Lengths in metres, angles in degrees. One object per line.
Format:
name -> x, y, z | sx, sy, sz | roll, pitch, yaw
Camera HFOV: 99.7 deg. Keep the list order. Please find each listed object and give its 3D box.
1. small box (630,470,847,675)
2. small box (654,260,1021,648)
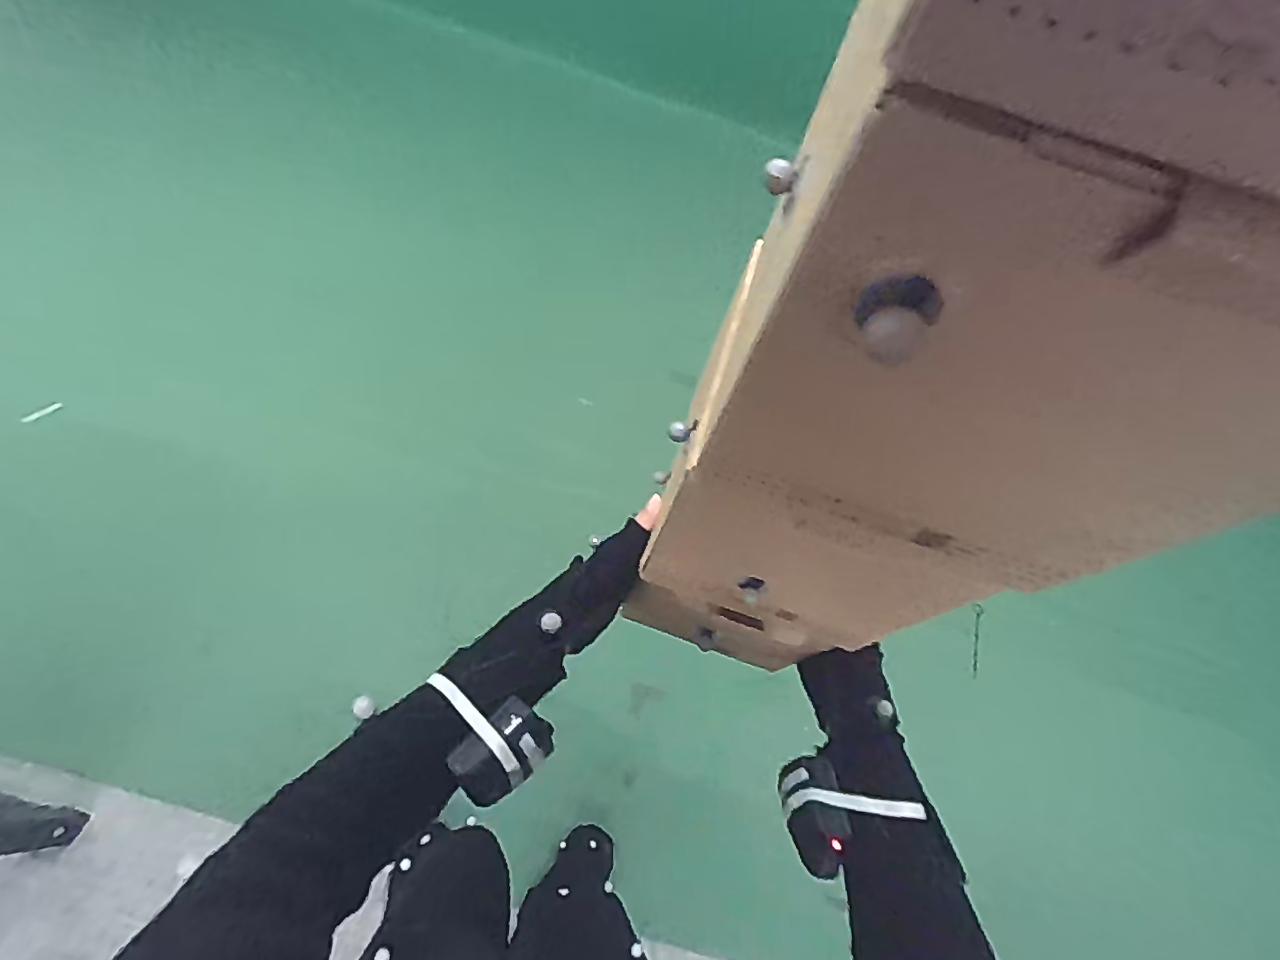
small box -> 0.097, 0.064, 0.515 | 0.168, 0.176, 0.179 | 20, 62, 3
small box -> 0.116, -0.005, 0.369 | 0.168, 0.176, 0.179 | 18, 62, 1
